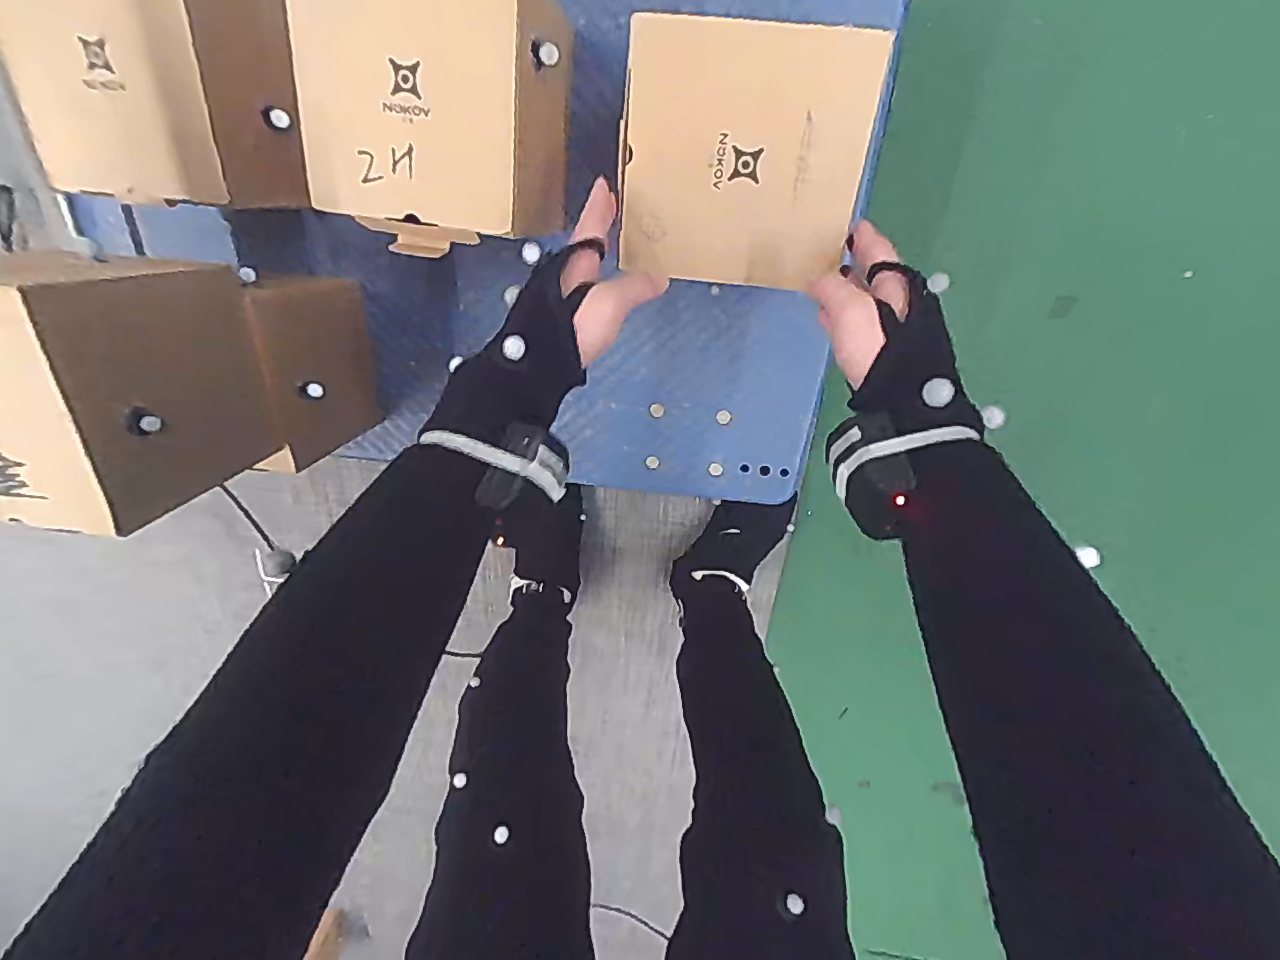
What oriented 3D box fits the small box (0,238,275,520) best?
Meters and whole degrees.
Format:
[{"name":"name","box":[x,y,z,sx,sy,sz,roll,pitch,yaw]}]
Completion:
[{"name":"small box","box":[-0.436,-0.091,0.434,0.168,0.176,0.179,6,115,3]}]

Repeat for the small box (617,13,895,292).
[{"name":"small box","box":[0.085,-0.268,0.470,0.179,0.176,0.168,8,117,3]}]
